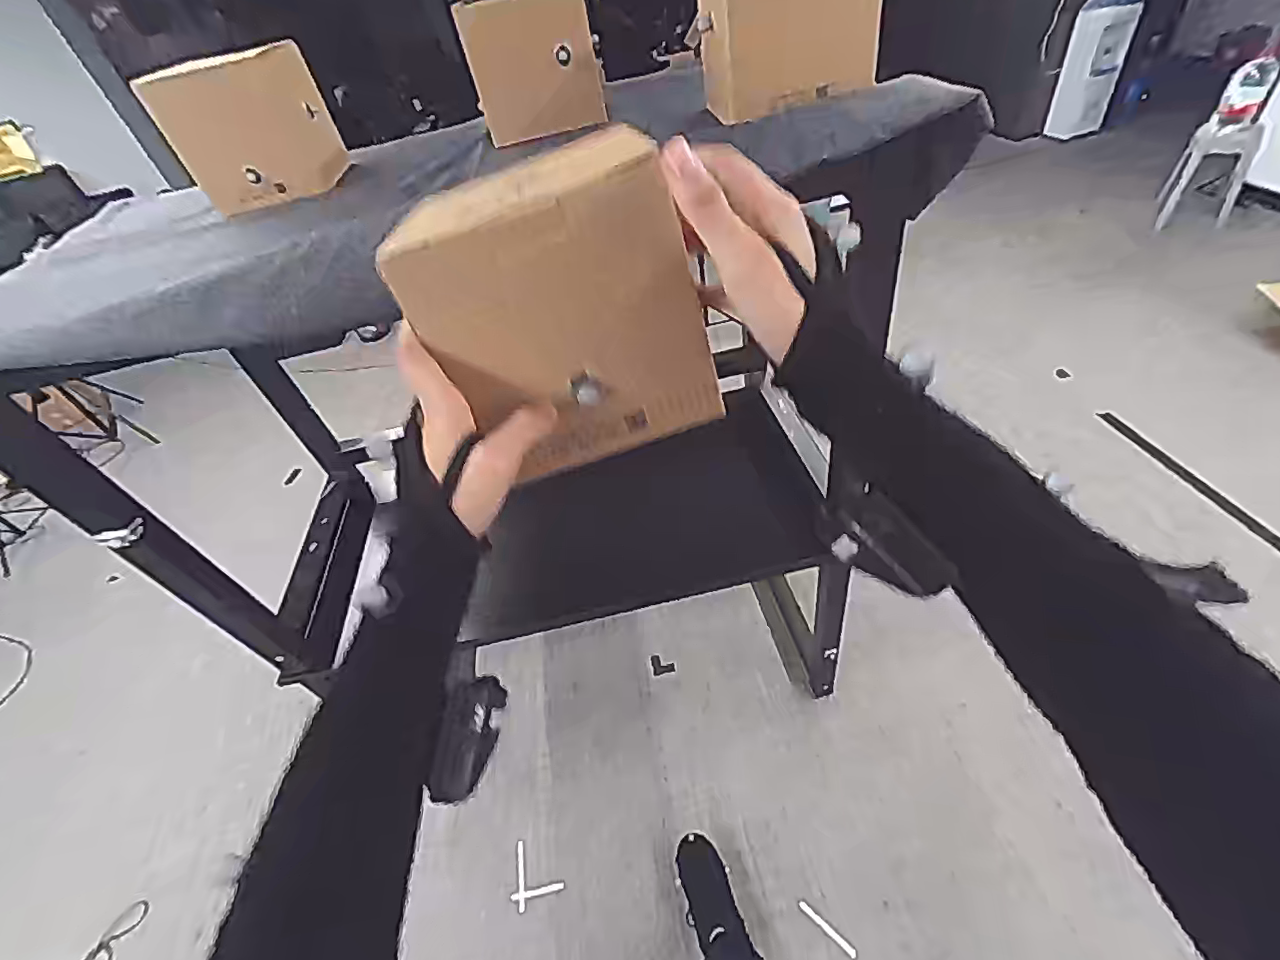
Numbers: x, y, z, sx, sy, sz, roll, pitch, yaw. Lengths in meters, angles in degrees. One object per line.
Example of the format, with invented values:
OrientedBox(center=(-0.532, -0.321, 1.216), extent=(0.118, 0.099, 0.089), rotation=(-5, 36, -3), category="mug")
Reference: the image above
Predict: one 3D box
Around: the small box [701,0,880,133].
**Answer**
OrientedBox(center=(0.167, -0.530, 0.638), extent=(0.168, 0.176, 0.179), rotation=(-12, 42, 3), category="small box")

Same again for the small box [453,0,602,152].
OrientedBox(center=(-0.157, -0.620, 0.814), extent=(0.179, 0.176, 0.168), rotation=(-12, 43, 1), category="small box")

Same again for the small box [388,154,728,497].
OrientedBox(center=(-0.047, -0.117, 0.400), extent=(0.168, 0.176, 0.179), rotation=(-19, 35, 4), category="small box")
